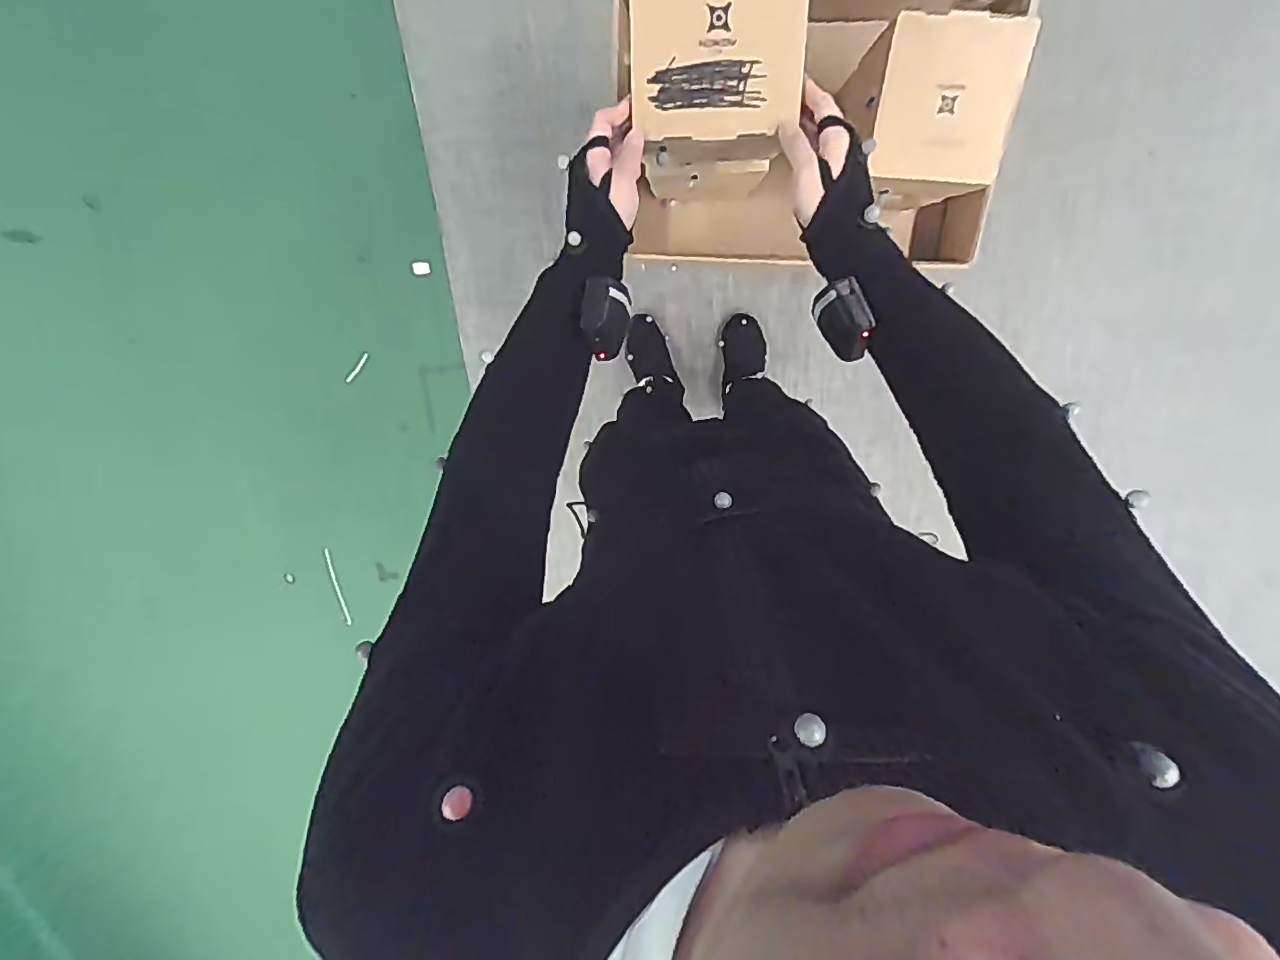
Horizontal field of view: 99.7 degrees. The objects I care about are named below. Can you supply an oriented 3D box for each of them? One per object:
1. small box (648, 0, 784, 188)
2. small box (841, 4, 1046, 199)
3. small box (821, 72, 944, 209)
[{"bbox_3d":[0.098,-0.516,0.749,0.168,0.176,0.179,1,111,6],"label":"small box"},{"bbox_3d":[0.388,-0.494,0.731,0.168,0.176,0.179,7,112,3],"label":"small box"},{"bbox_3d":[0.408,-0.554,0.882,0.168,0.176,0.179,8,113,3],"label":"small box"}]
